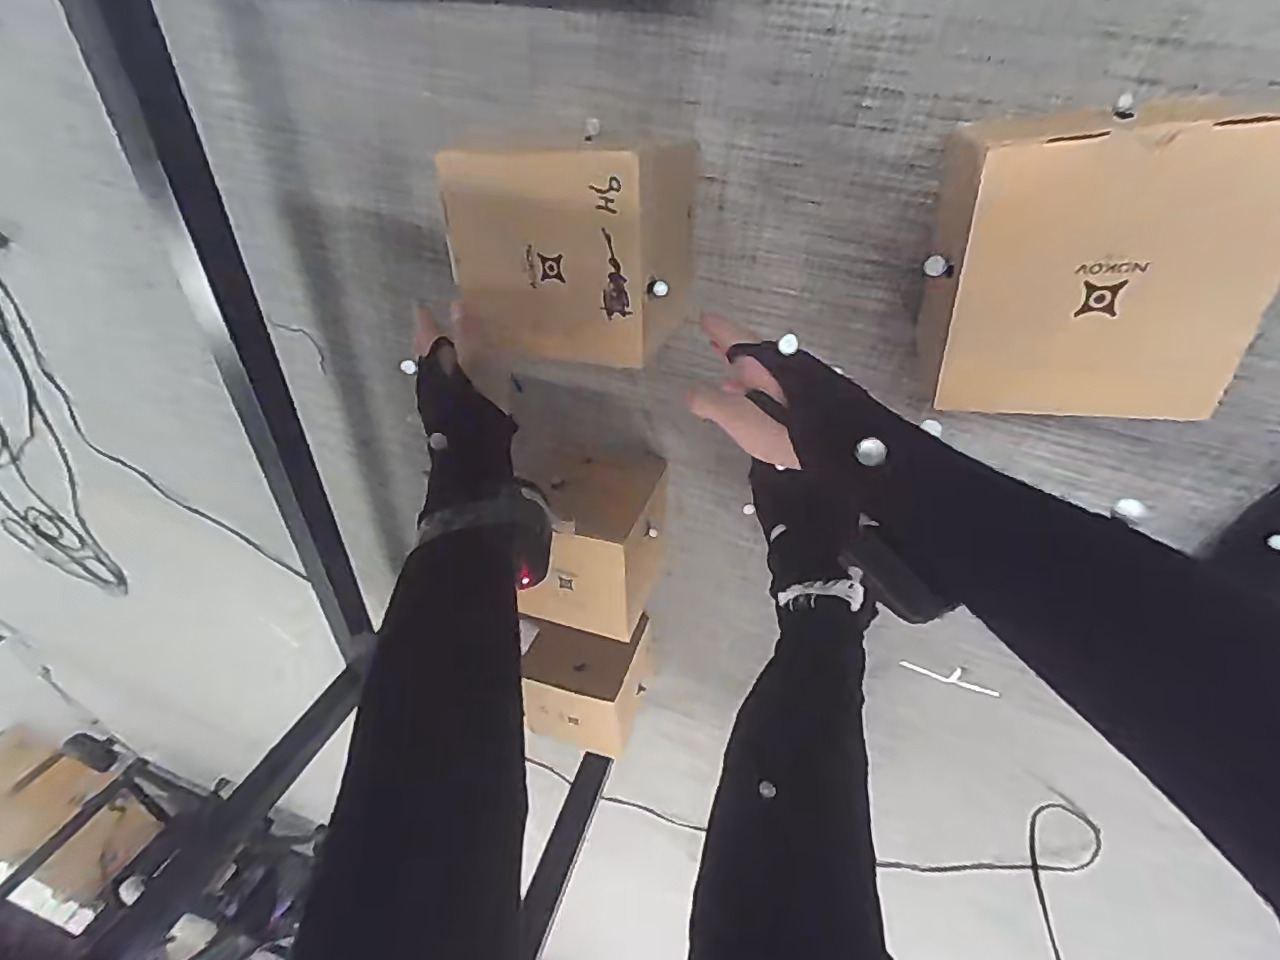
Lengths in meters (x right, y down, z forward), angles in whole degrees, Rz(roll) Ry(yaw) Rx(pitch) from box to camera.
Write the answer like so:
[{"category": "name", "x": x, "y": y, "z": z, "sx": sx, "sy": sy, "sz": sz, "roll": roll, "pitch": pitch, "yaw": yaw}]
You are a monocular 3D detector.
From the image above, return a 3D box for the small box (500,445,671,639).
[{"category": "small box", "x": -0.061, "y": 0.074, "z": 0.722, "sx": 0.168, "sy": 0.176, "sz": 0.179, "roll": 11, "pitch": 128, "yaw": 17}]

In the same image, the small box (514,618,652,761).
[{"category": "small box", "x": -0.083, "y": 0.329, "z": 0.910, "sx": 0.179, "sy": 0.176, "sz": 0.168, "roll": 10, "pitch": 126, "yaw": 18}]

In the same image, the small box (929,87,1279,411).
[{"category": "small box", "x": 0.317, "y": -0.169, "z": 0.392, "sx": 0.168, "sy": 0.176, "sz": 0.179, "roll": 6, "pitch": 125, "yaw": 19}]
